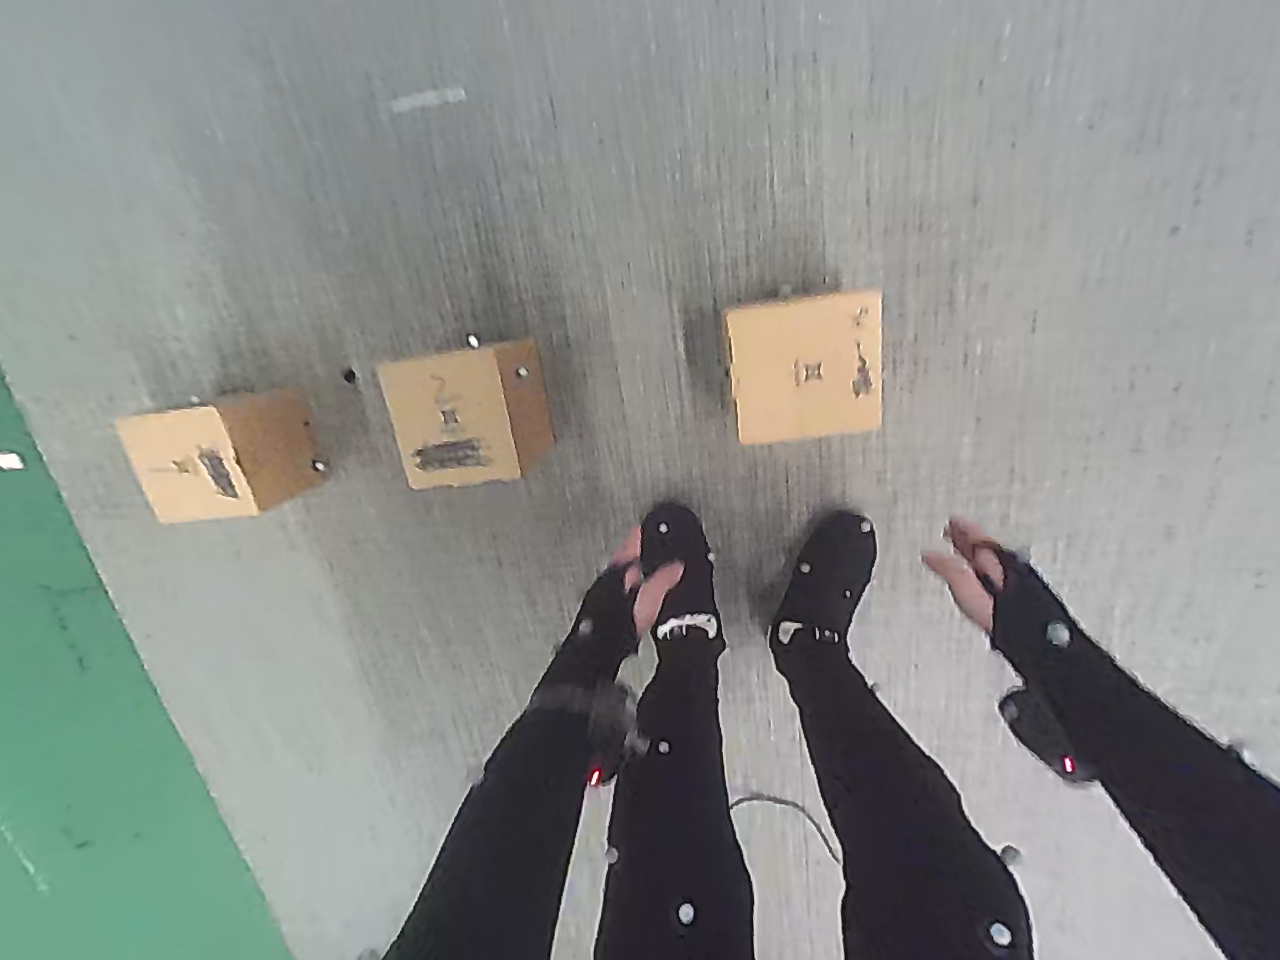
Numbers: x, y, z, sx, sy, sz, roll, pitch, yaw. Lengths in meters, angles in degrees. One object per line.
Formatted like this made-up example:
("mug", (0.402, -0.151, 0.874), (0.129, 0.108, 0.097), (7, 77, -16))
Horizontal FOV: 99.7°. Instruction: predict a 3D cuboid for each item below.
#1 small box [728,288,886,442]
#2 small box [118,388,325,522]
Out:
("small box", (0.209, -0.155, 0.715), (0.179, 0.176, 0.168), (-5, 108, 9))
("small box", (-0.632, -0.045, 0.847), (0.179, 0.176, 0.168), (-5, 107, 9))
